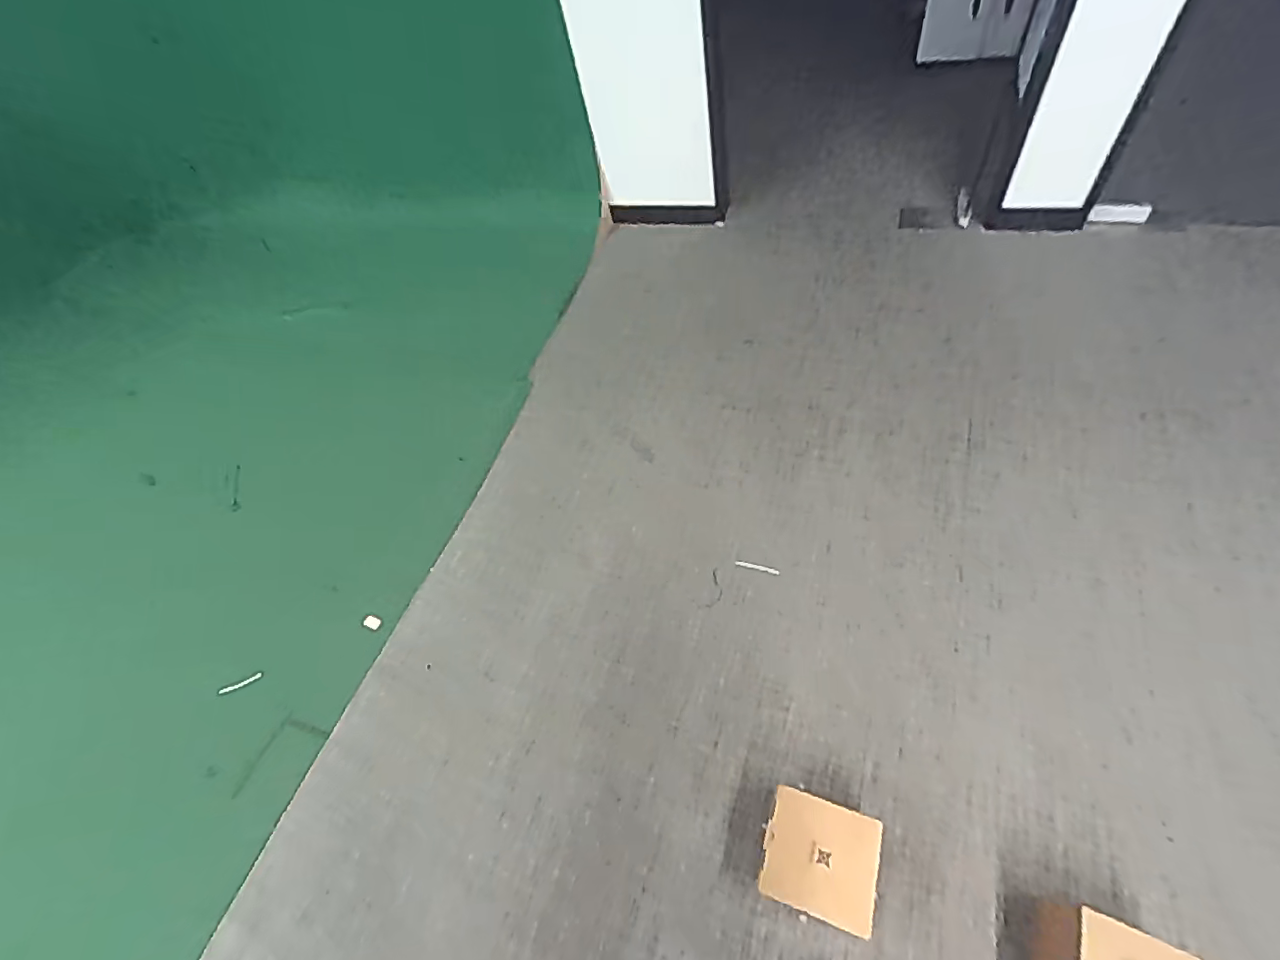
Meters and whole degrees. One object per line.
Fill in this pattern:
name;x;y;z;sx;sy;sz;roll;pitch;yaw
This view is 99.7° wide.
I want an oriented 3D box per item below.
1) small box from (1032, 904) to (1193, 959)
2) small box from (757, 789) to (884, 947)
small box;0.699;0.762;0.788;0.168;0.176;0.179;16;60;20
small box;0.309;0.663;0.942;0.179;0.176;0.168;11;59;20
